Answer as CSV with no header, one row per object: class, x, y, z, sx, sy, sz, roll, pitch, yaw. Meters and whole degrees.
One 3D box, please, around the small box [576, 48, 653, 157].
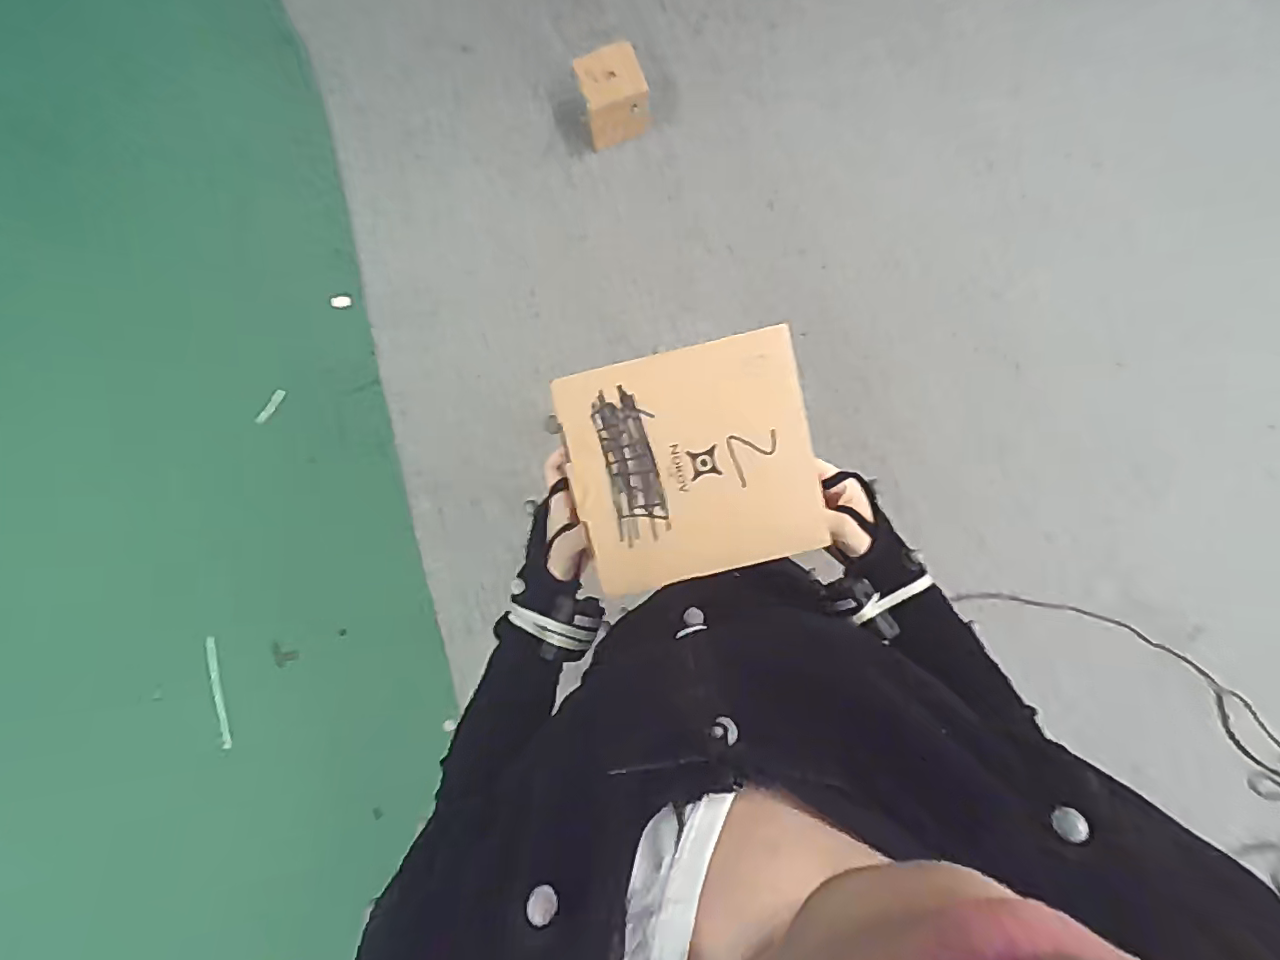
small box,-0.067,-1.083,1.564,0.179,0.176,0.168,-20,83,1
